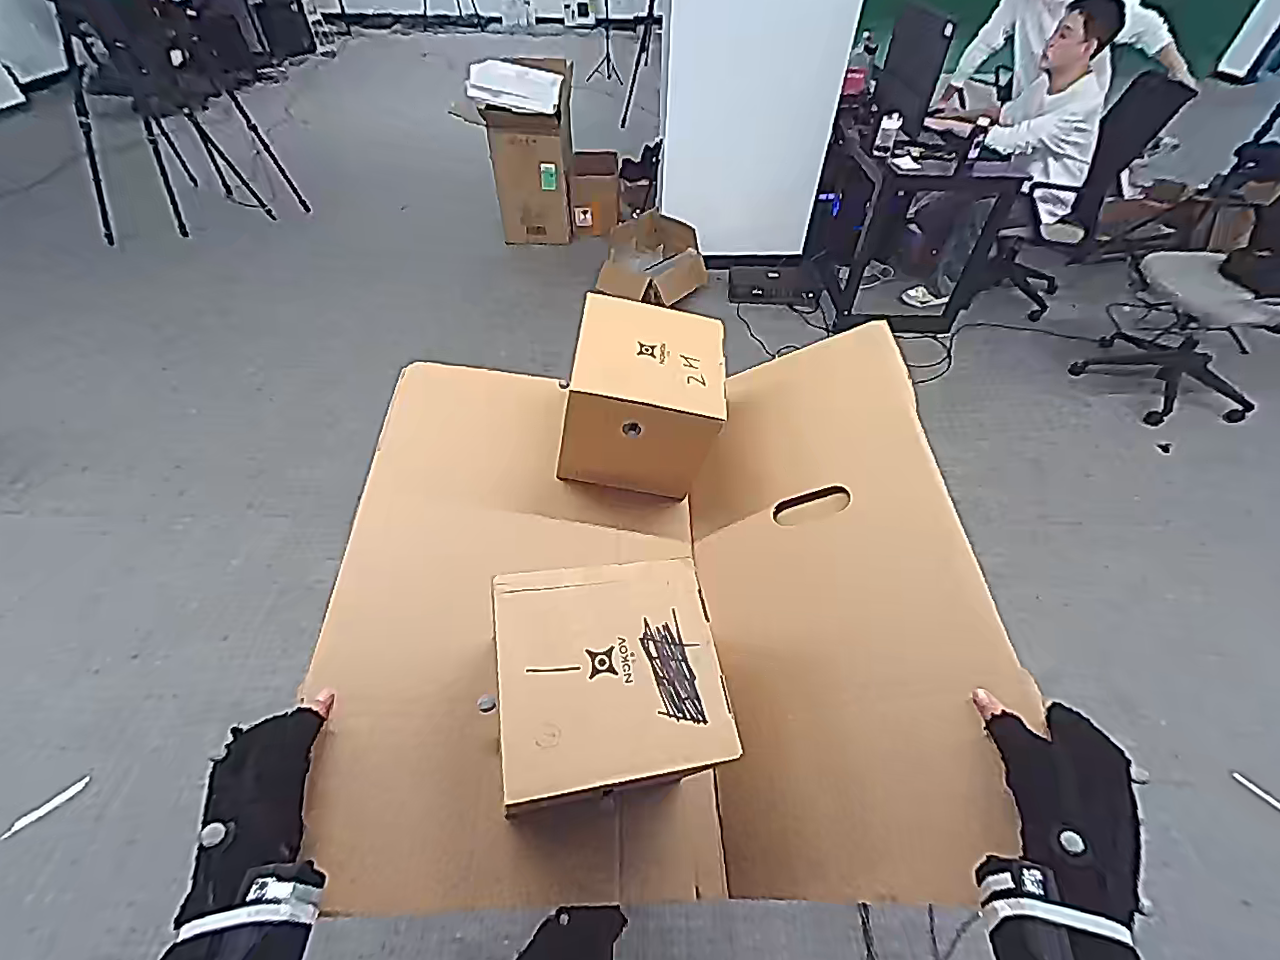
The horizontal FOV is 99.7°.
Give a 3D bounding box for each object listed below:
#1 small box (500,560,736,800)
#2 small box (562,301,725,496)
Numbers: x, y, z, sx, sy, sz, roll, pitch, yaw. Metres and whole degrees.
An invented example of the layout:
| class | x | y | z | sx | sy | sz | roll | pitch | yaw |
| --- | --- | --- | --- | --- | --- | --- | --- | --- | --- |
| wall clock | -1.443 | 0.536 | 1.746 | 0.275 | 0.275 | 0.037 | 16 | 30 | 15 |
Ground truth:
| class | x | y | z | sx | sy | sz | roll | pitch | yaw |
| --- | --- | --- | --- | --- | --- | --- | --- | --- | --- |
| small box | -0.037 | 0.186 | 0.501 | 0.179 | 0.176 | 0.168 | -2 | 58 | -15 |
| small box | 0.001 | -0.098 | 0.701 | 0.179 | 0.176 | 0.168 | 11 | 55 | -8 |
